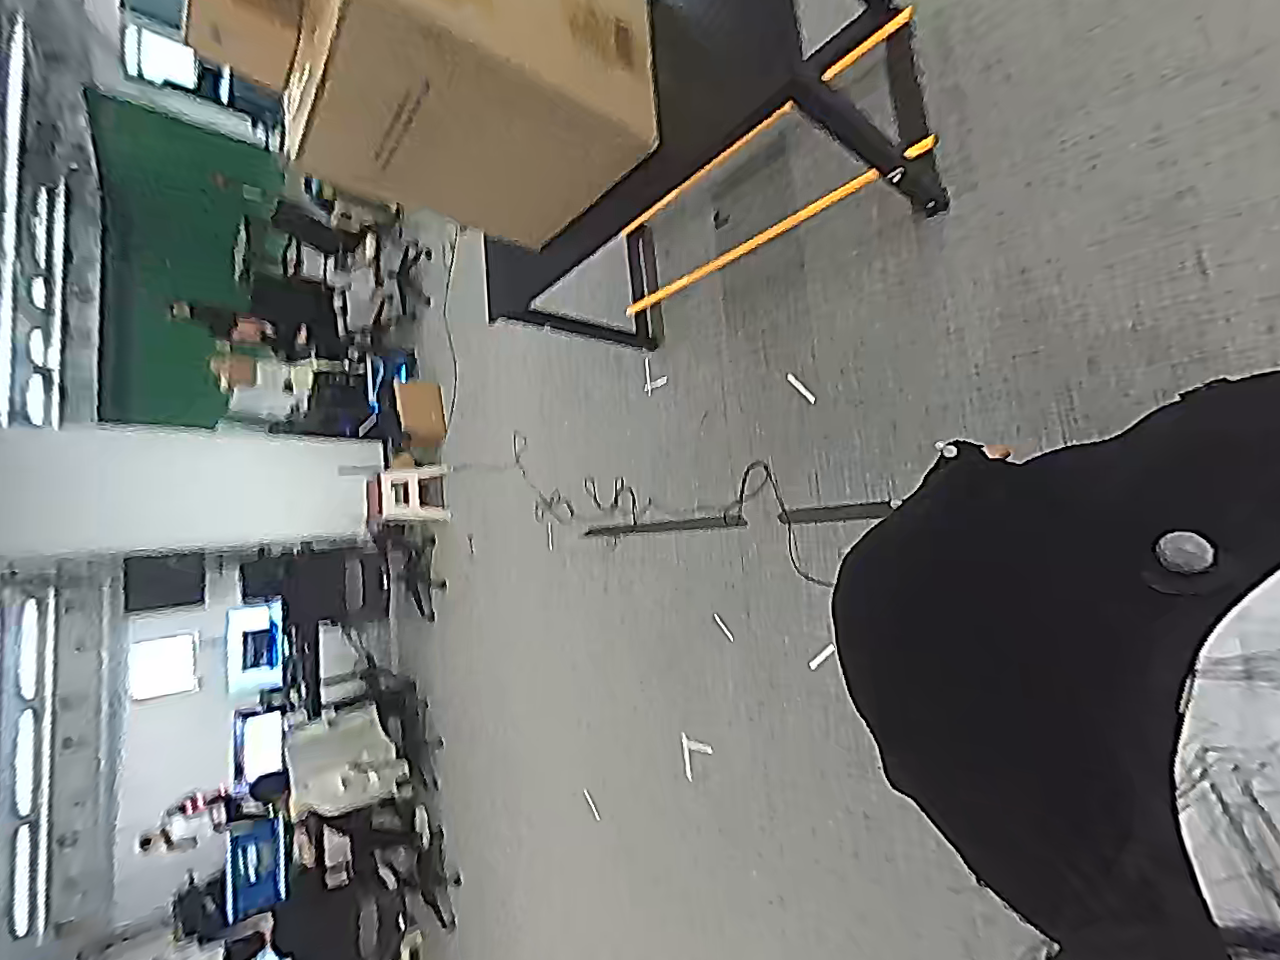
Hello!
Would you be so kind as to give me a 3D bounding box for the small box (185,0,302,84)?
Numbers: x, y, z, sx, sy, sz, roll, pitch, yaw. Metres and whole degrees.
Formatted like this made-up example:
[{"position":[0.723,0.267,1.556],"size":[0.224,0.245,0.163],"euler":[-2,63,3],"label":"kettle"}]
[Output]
[{"position":[-0.776,-0.937,1.059],"size":[0.179,0.176,0.168],"euler":[-11,80,47],"label":"small box"}]
